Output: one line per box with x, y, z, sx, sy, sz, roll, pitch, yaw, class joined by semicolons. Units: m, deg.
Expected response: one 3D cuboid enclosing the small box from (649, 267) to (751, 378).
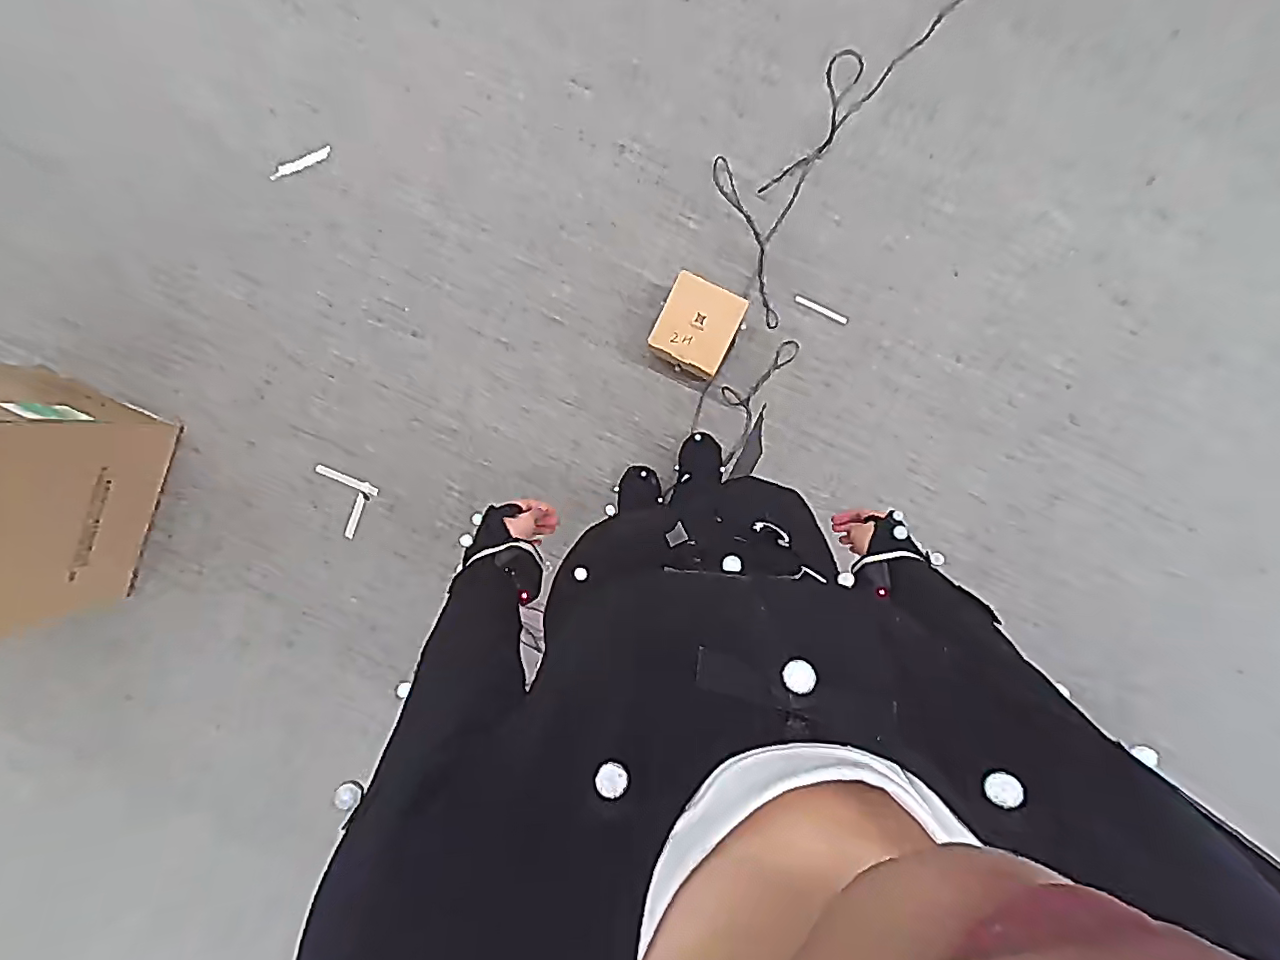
0.132;-0.349;1.236;0.168;0.176;0.179;26;97;2;small box
